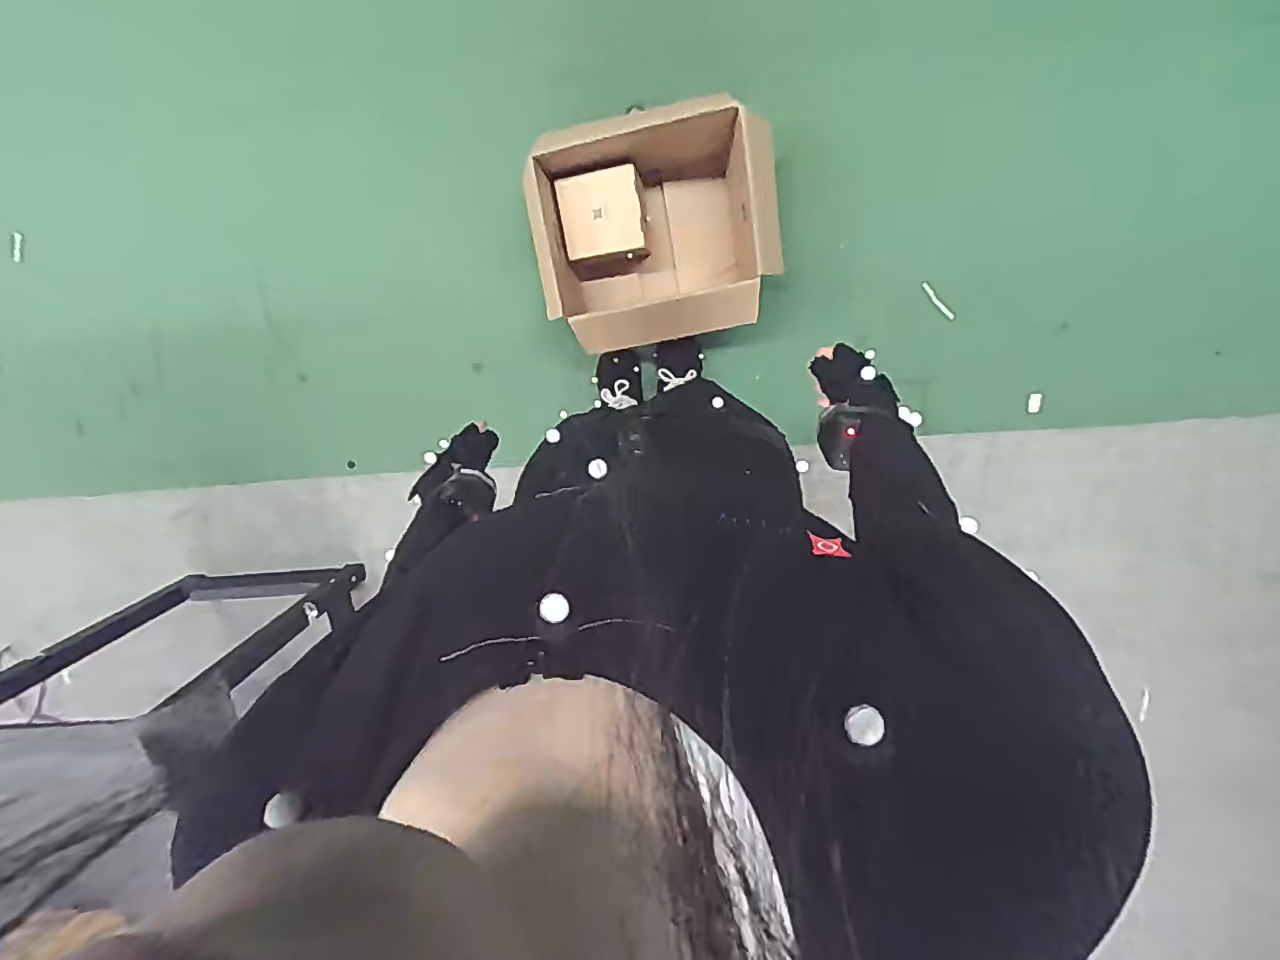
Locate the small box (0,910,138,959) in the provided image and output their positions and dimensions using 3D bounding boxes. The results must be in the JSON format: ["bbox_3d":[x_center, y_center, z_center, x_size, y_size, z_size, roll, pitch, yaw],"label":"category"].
[{"bbox_3d":[-1.097,0.944,1.008,0.179,0.176,0.168,-5,105,5],"label":"small box"}]
